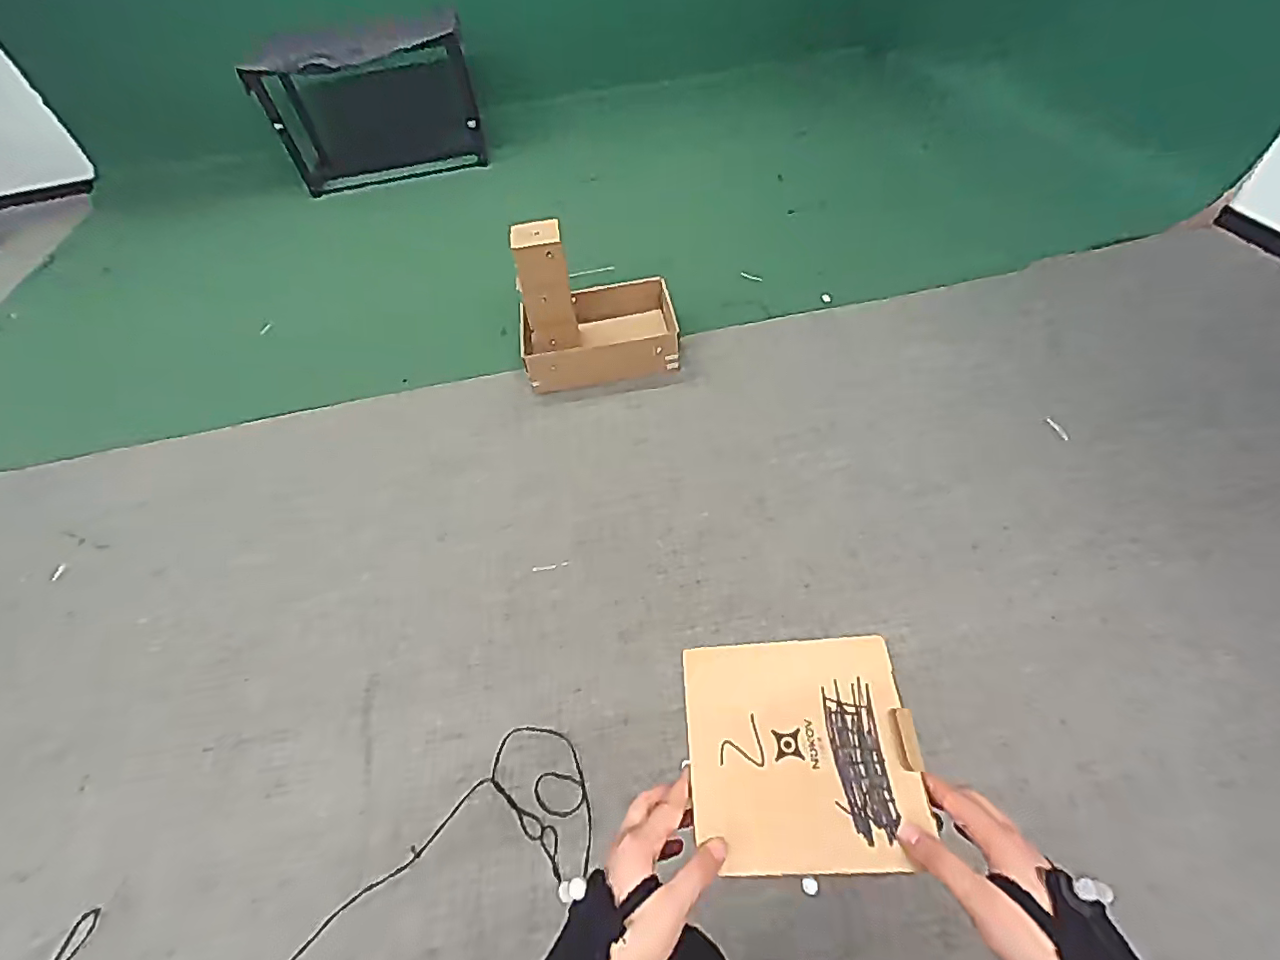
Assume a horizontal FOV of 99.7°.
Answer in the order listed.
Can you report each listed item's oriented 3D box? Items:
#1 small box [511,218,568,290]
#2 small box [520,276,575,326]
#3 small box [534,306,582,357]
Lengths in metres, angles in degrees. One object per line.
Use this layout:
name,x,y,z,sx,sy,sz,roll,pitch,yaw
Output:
small box,-0.361,-0.818,1.963,0.179,0.176,0.168,-10,52,-1
small box,-0.358,-0.718,2.094,0.179,0.176,0.168,-9,53,-2
small box,-0.340,-0.627,2.230,0.168,0.176,0.179,-10,53,-2
